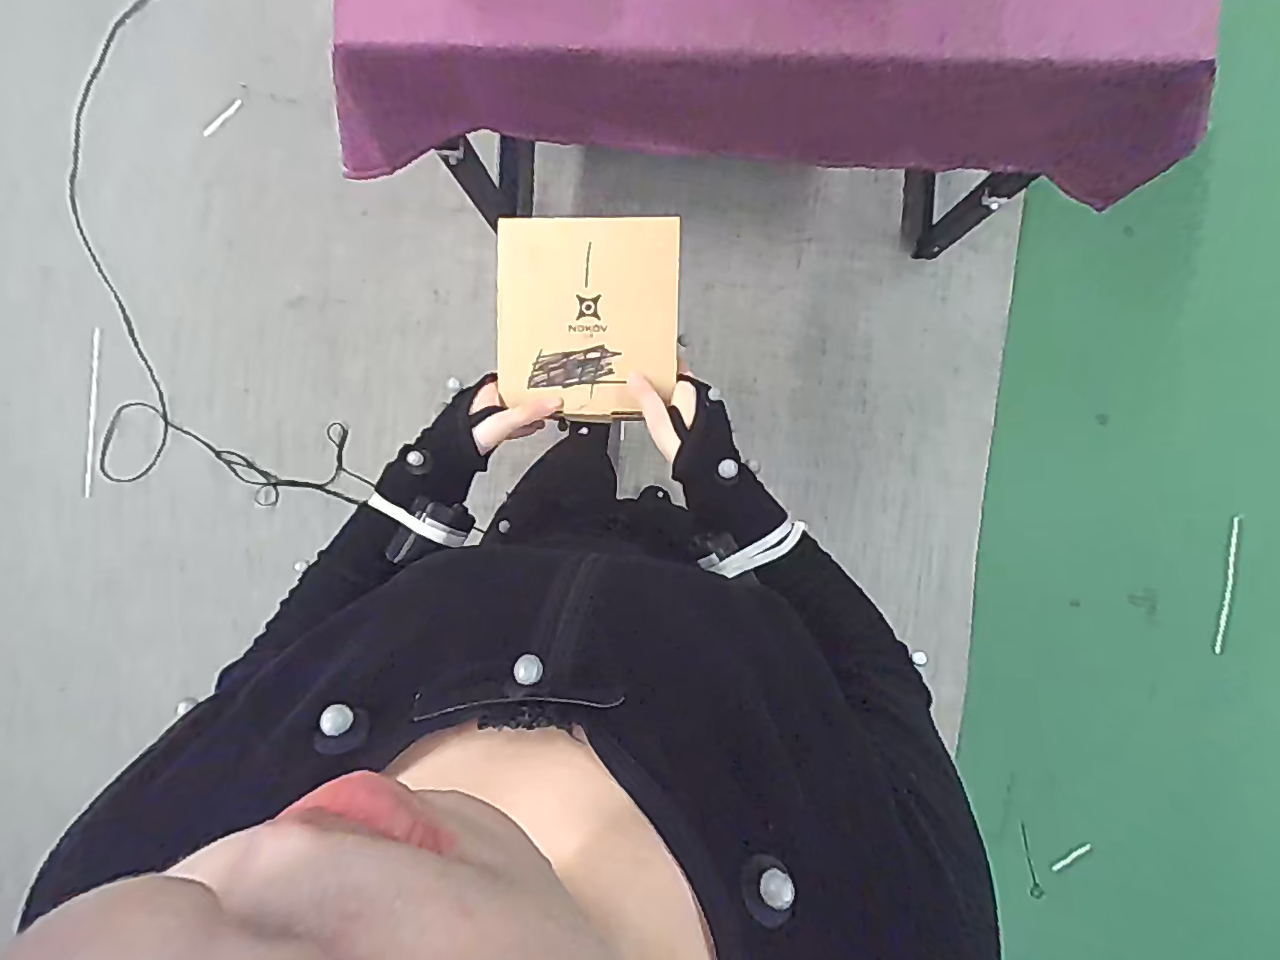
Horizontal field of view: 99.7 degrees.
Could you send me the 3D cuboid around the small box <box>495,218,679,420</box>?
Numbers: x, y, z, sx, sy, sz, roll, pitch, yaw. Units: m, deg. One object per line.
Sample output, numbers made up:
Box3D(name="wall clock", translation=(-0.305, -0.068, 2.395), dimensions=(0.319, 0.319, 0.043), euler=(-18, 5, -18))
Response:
Box3D(name="small box", translation=(-0.045, -0.155, 0.571), dimensions=(0.168, 0.176, 0.179), euler=(1, 94, 4))
